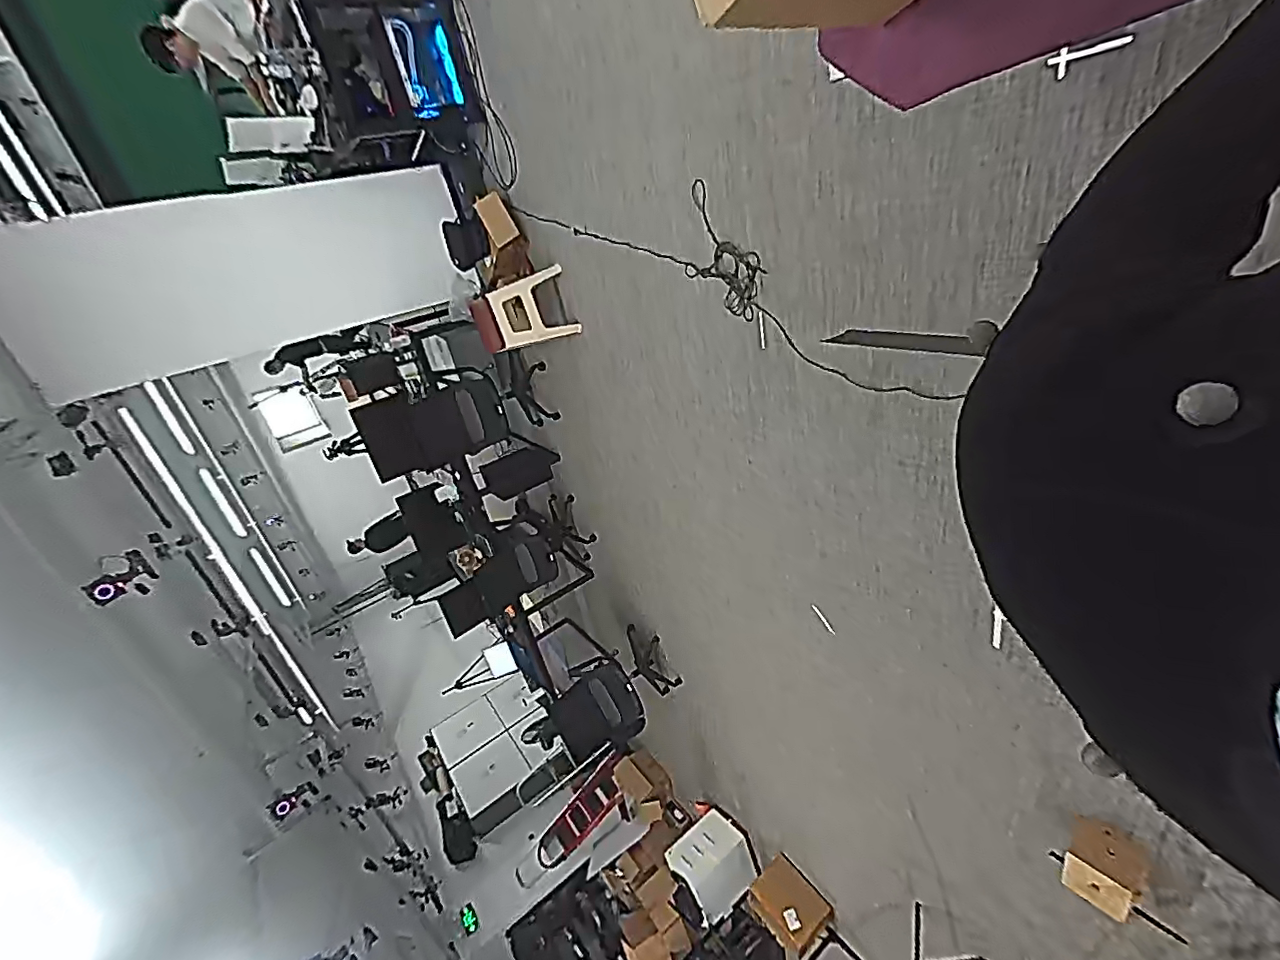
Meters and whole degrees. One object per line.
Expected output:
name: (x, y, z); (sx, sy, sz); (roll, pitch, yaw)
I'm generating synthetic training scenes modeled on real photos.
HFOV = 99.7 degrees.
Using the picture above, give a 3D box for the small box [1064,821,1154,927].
small box: (1.468, 1.224, 1.693); (0.168, 0.176, 0.179); (22, 134, 52)
